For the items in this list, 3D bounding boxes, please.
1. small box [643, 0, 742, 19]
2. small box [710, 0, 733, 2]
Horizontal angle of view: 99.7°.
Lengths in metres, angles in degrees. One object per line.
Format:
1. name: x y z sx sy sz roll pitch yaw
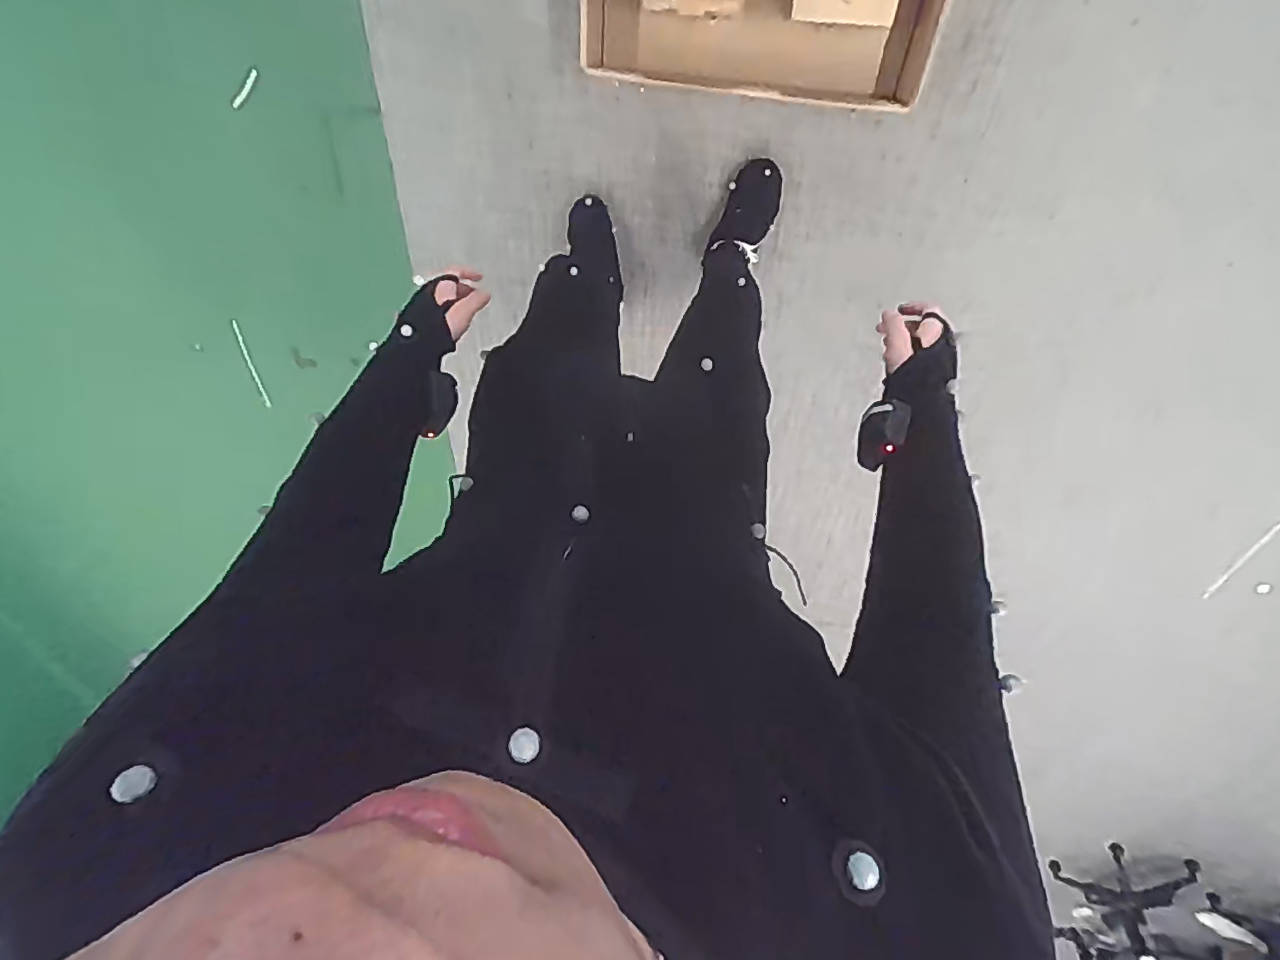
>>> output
1. small box: 0.102 -0.903 0.917 0.168 0.176 0.179 7 128 4
2. small box: 0.079 -0.816 0.783 0.168 0.176 0.179 6 128 4
